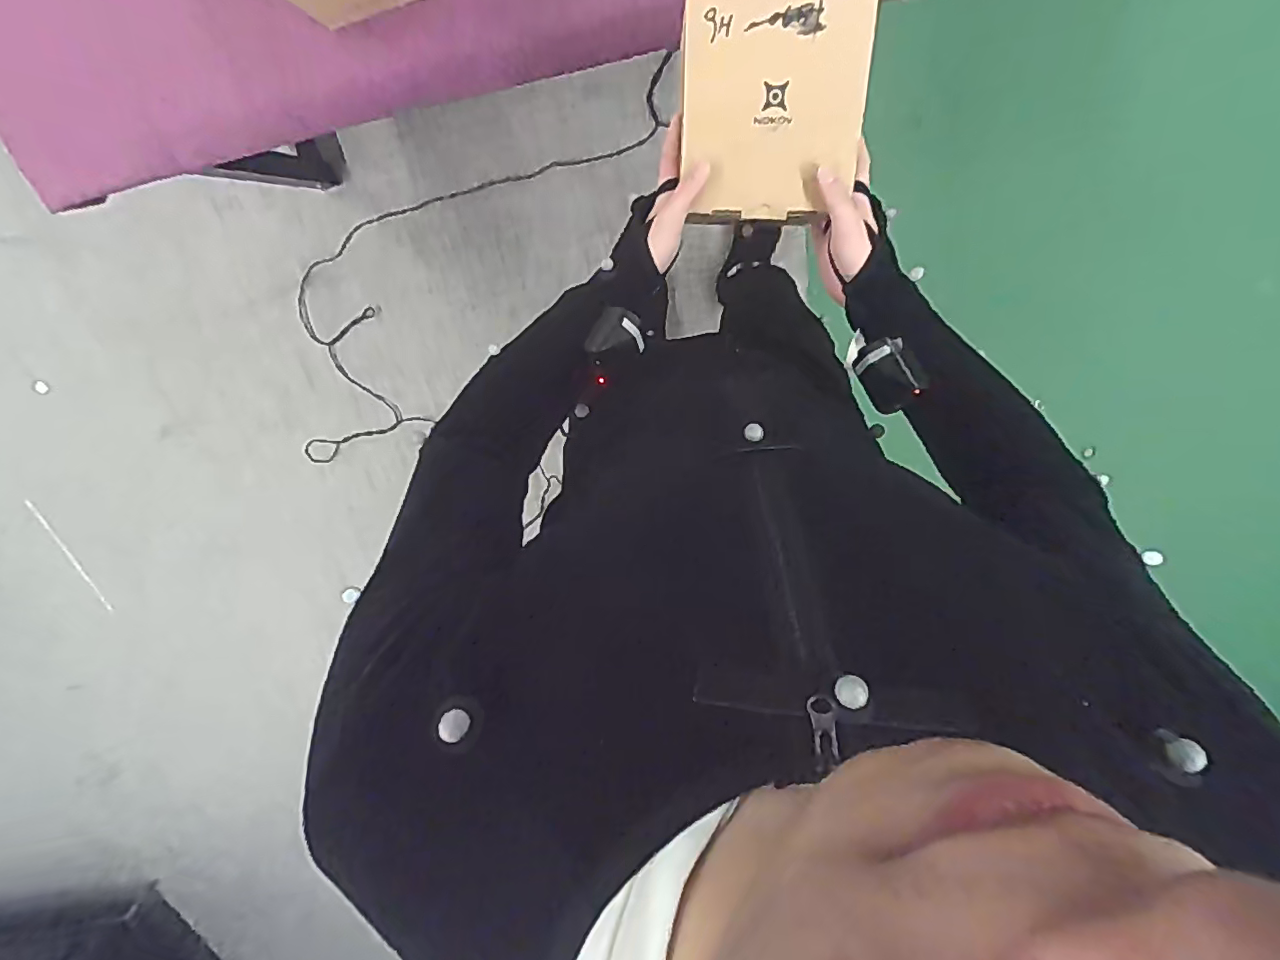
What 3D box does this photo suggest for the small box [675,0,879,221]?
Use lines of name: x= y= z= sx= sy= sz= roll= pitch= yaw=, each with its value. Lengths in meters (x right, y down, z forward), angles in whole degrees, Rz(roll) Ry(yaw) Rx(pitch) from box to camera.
small box: x=0.122 y=-0.367 z=0.561 sx=0.168 sy=0.176 sz=0.179 roll=1 pitch=113 yaw=2

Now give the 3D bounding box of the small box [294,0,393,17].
small box: x=-0.316 y=-0.601 z=0.533 sx=0.168 sy=0.176 sz=0.179 roll=-13 pitch=113 yaw=6
